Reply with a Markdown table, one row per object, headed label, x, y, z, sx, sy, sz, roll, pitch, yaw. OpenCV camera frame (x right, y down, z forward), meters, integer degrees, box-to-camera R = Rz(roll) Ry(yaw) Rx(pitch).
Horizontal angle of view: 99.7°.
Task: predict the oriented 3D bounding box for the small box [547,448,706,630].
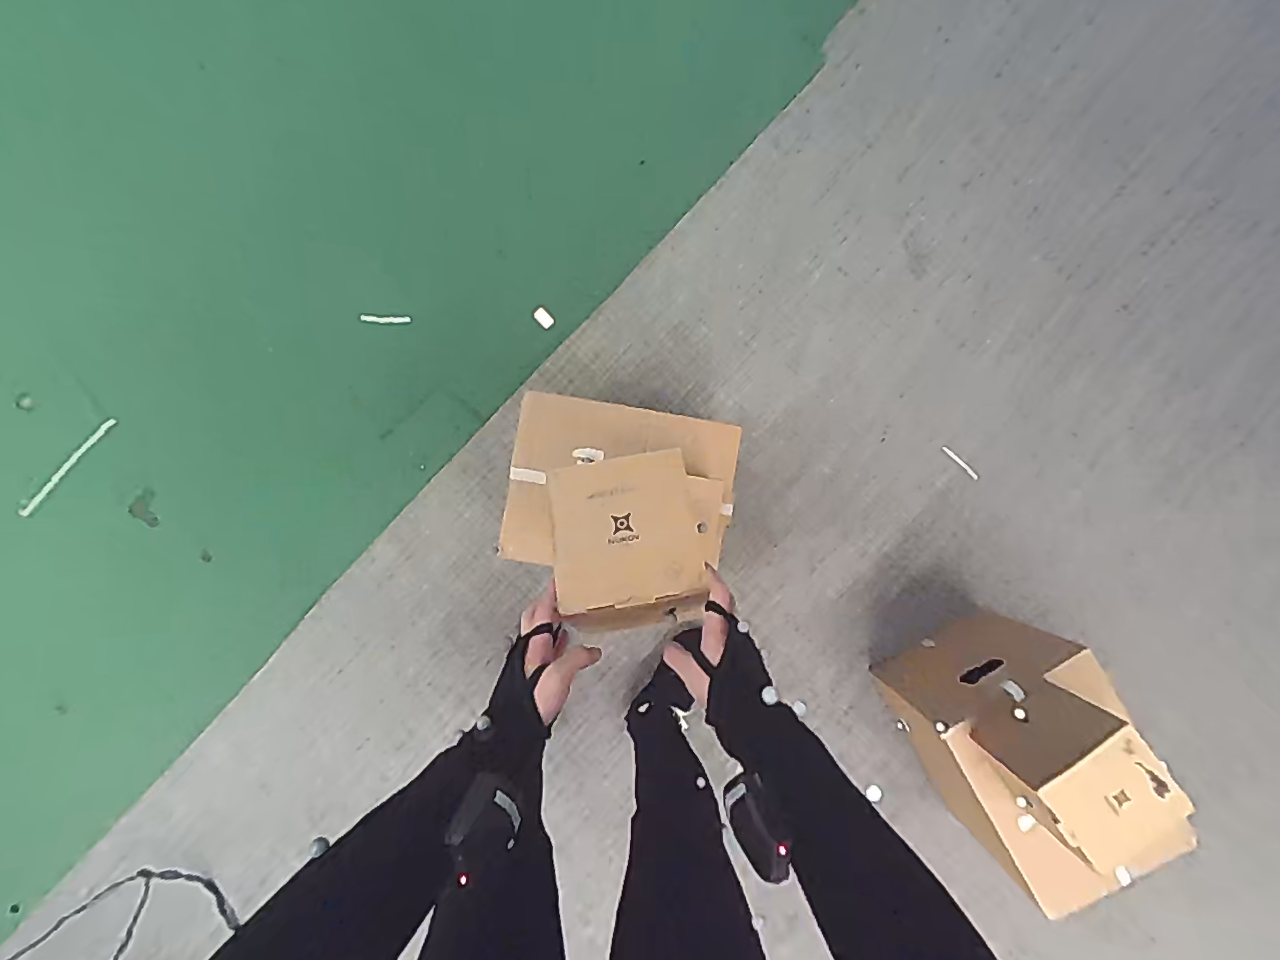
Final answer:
| label | x | y | z | sx | sy | sz | roll | pitch | yaw |
| --- | --- | --- | --- | --- | --- | --- | --- | --- | --- |
| small box | -0.013 | 0.084 | 0.674 | 0.168 | 0.176 | 0.179 | -9 | 65 | 0 |

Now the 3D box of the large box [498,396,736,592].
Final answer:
| label | x | y | z | sx | sy | sz | roll | pitch | yaw |
| --- | --- | --- | --- | --- | --- | --- | --- | --- | --- |
| large box | -0.037 | 0.028 | 1.129 | 0.408 | 0.320 | 0.320 | 10 | 88 | 1 |

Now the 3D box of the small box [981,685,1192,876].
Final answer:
| label | x | y | z | sx | sy | sz | roll | pitch | yaw |
| --- | --- | --- | --- | --- | --- | --- | --- | --- | --- |
| small box | 0.698 | 0.472 | 0.877 | 0.179 | 0.176 | 0.168 | -37 | 90 | 1 |

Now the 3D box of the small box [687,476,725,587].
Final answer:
| label | x | y | z | sx | sy | sz | roll | pitch | yaw |
| --- | --- | --- | --- | --- | --- | --- | --- | --- | --- |
| small box | 0.028 | 0.068 | 0.881 | 0.179 | 0.176 | 0.168 | 9 | 90 | 0 |
